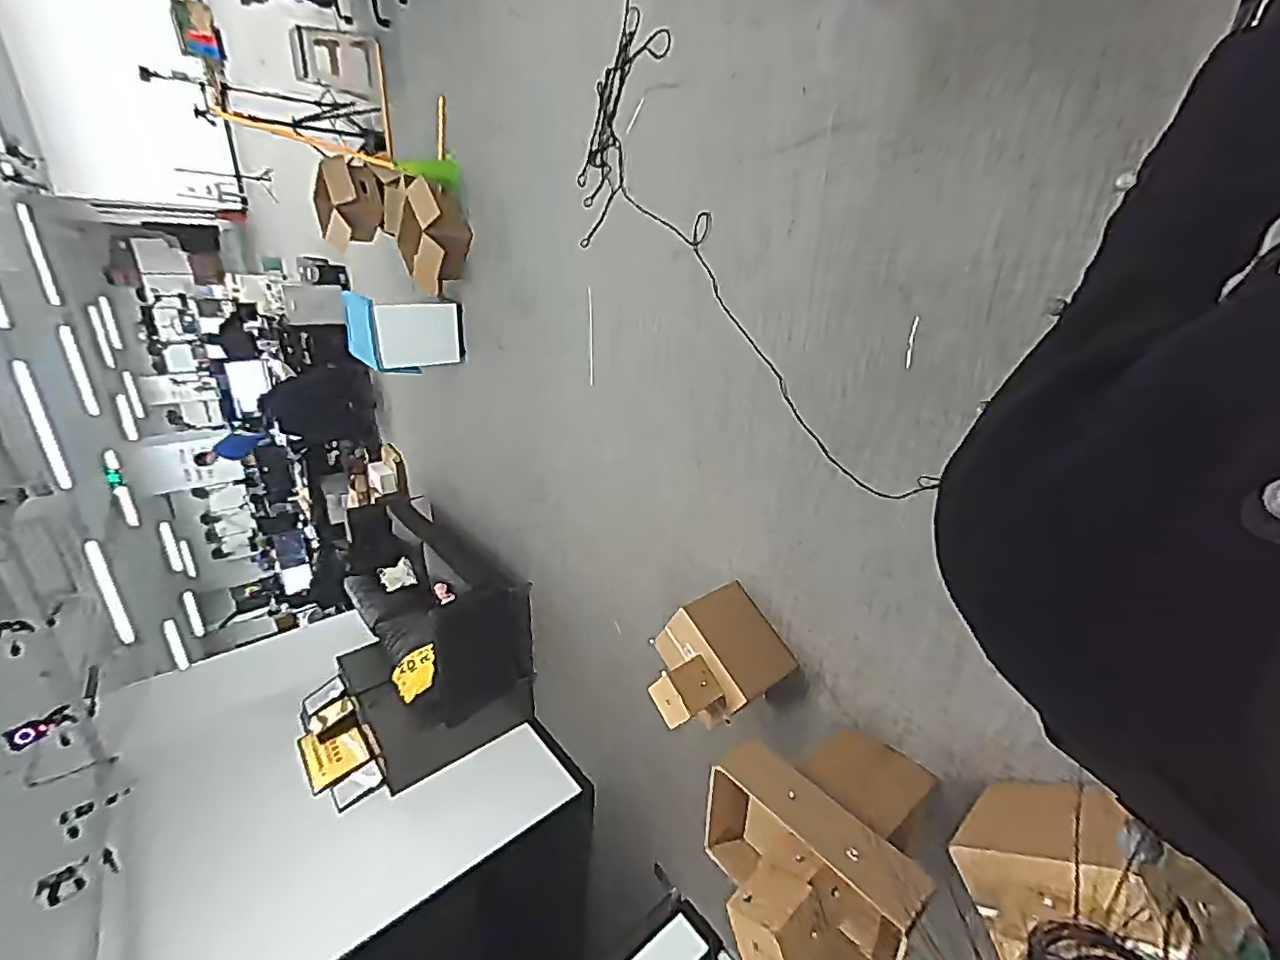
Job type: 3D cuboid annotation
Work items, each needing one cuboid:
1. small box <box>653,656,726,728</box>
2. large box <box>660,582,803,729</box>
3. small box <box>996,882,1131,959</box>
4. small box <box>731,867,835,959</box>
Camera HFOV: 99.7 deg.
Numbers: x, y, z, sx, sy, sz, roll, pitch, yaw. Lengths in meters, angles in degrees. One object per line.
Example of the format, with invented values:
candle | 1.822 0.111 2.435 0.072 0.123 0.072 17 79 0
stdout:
small box | 0.182 0.774 1.978 0.168 0.176 0.179 57 141 23
large box | 0.351 0.681 2.132 0.408 0.320 0.320 54 139 27
small box | 0.897 1.001 1.131 0.168 0.176 0.179 -32 77 52
small box | 0.374 1.166 1.418 0.179 0.176 0.168 -19 88 52
